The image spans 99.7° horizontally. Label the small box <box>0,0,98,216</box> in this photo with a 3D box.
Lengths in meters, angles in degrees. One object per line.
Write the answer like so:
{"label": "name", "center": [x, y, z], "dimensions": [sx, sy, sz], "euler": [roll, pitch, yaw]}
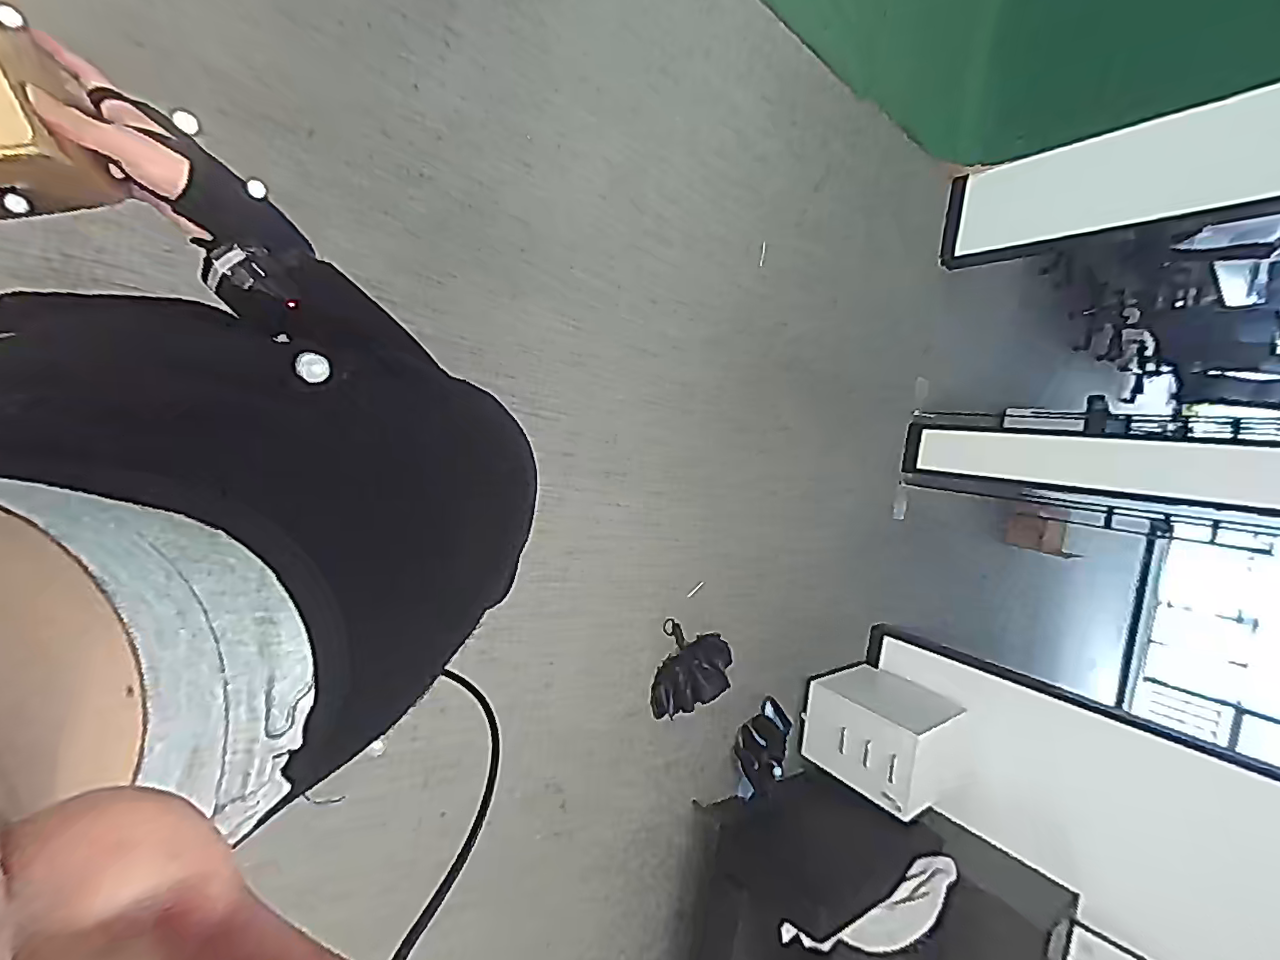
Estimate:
{"label": "small box", "center": [-0.494, -0.260, 0.326], "dimensions": [0.168, 0.176, 0.179], "euler": [-23, 113, -24]}
